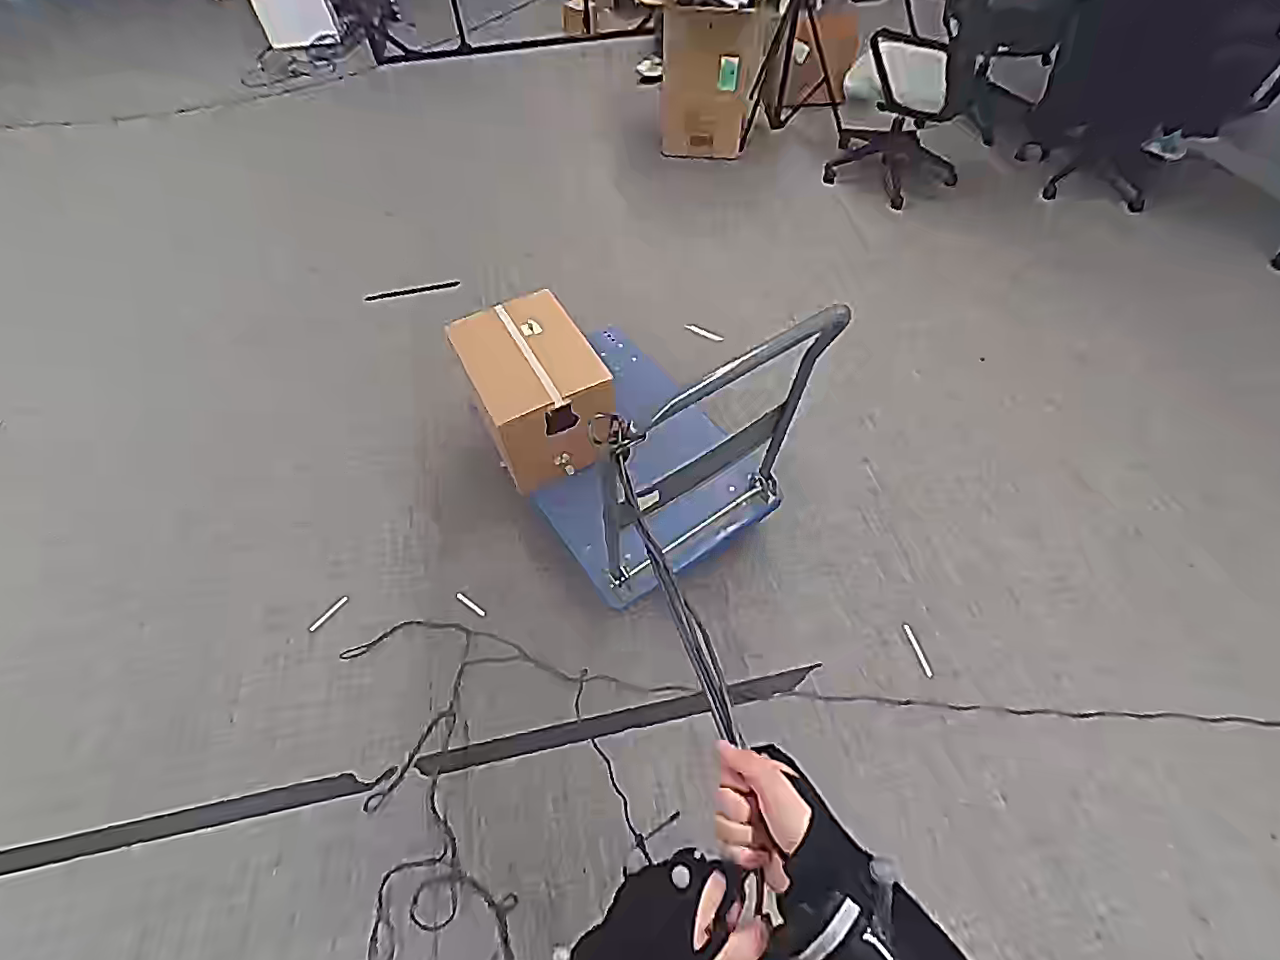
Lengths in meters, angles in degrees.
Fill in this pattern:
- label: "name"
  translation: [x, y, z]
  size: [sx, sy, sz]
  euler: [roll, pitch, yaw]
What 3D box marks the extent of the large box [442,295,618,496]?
- label: "large box"
  translation: [-0.294, -0.234, 1.510]
  size: [0.320, 0.320, 0.408]
  euler: [-26, 59, -16]
